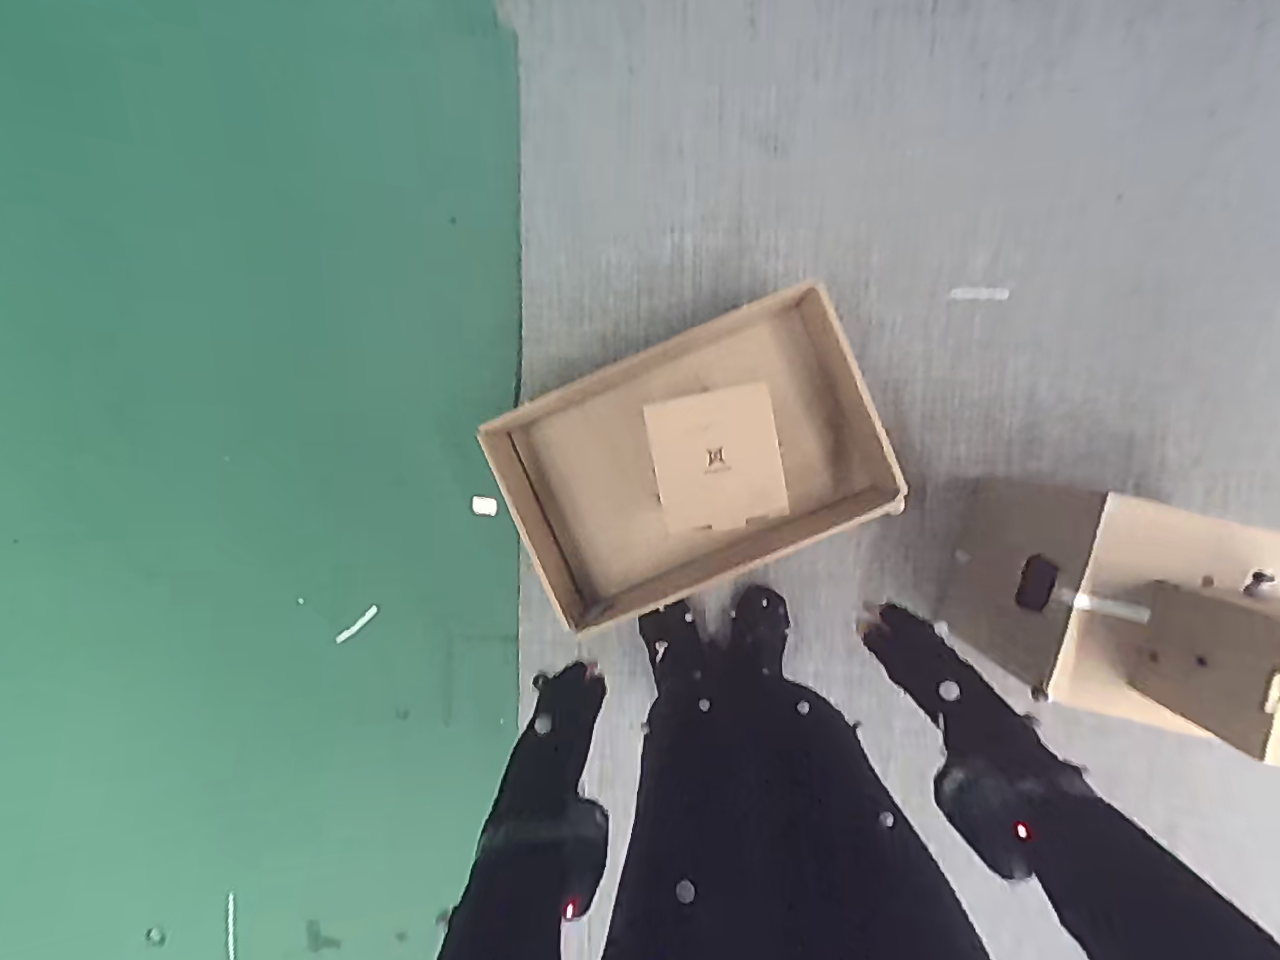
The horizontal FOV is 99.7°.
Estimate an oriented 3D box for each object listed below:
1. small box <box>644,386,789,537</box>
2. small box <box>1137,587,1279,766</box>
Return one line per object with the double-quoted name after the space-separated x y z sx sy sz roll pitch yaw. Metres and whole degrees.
0.105 -0.027 0.786 0.168 0.176 0.179 -11 92 3 "small box"
0.786 0.241 0.673 0.179 0.176 0.168 8 96 2 "small box"
